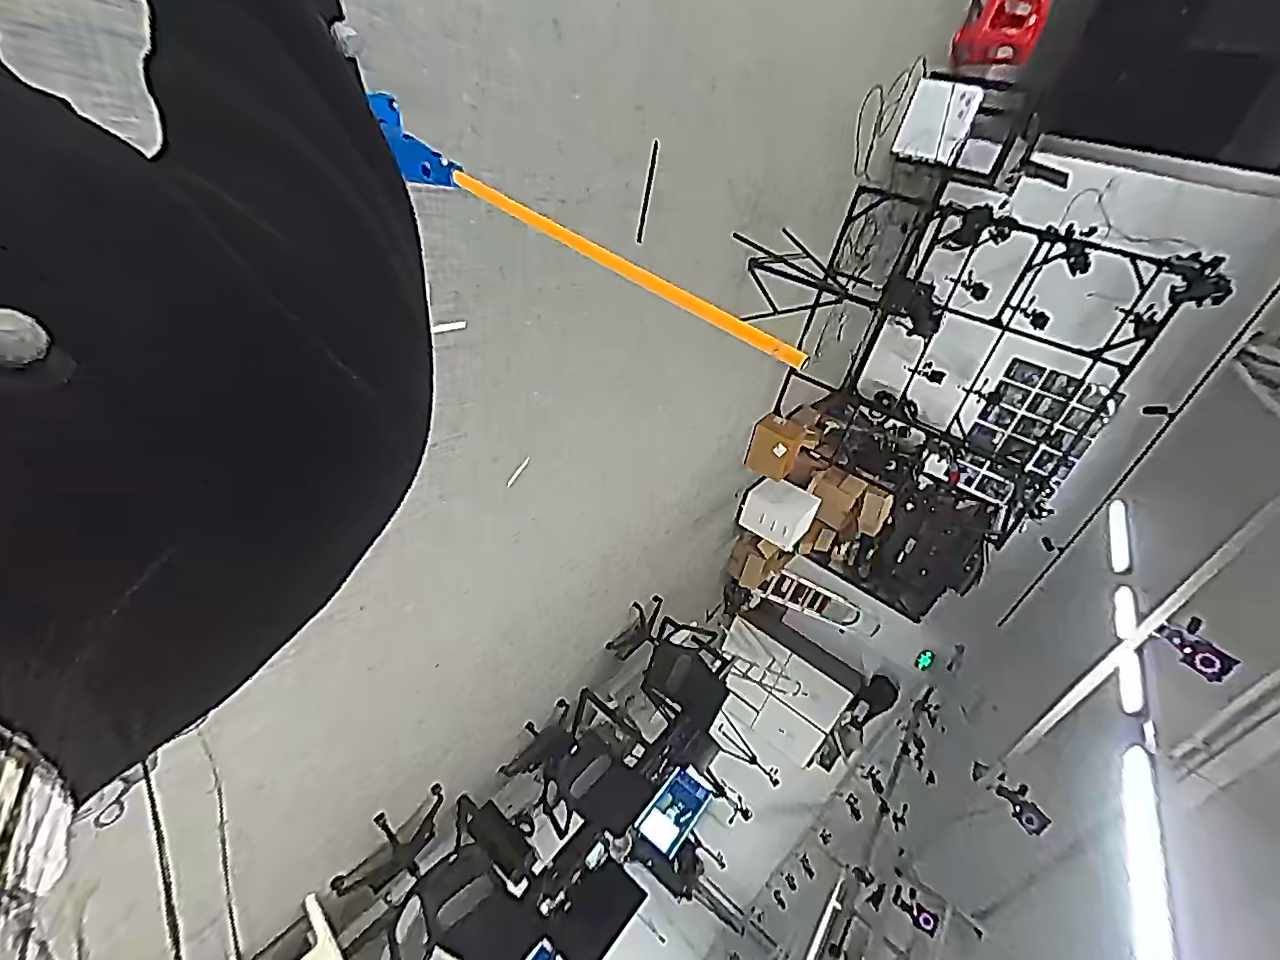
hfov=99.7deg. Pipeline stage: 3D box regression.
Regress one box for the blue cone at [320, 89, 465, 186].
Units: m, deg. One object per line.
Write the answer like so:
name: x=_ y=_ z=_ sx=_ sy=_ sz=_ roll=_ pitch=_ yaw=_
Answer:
blue cone: x=-0.523 y=-0.732 z=1.212 sx=0.193 sy=0.380 sz=0.192 roll=-32 pitch=143 yaw=-44
